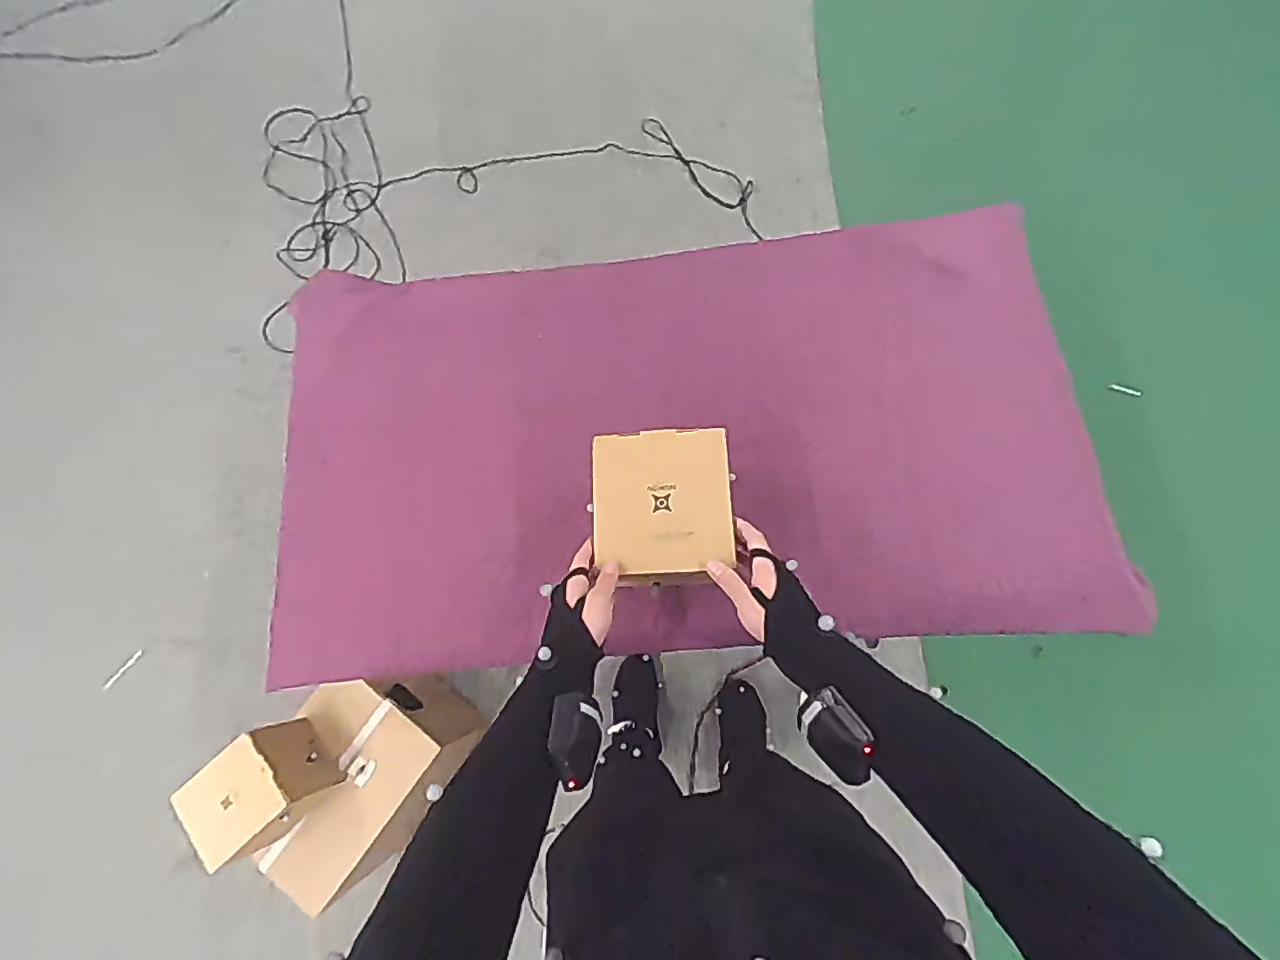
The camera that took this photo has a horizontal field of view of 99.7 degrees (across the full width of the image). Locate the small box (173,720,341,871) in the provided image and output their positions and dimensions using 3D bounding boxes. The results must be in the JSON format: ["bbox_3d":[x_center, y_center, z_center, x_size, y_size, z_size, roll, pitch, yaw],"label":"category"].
[{"bbox_3d":[-0.741,0.604,1.063,0.179,0.176,0.168,-42,74,-7],"label":"small box"}]

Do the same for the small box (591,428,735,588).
[{"bbox_3d":[0.030,0.045,0.708,0.168,0.176,0.179,-3,74,5],"label":"small box"}]

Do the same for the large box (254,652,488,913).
[{"bbox_3d":[-0.644,0.673,1.289,0.320,0.320,0.408,34,80,11],"label":"large box"}]
